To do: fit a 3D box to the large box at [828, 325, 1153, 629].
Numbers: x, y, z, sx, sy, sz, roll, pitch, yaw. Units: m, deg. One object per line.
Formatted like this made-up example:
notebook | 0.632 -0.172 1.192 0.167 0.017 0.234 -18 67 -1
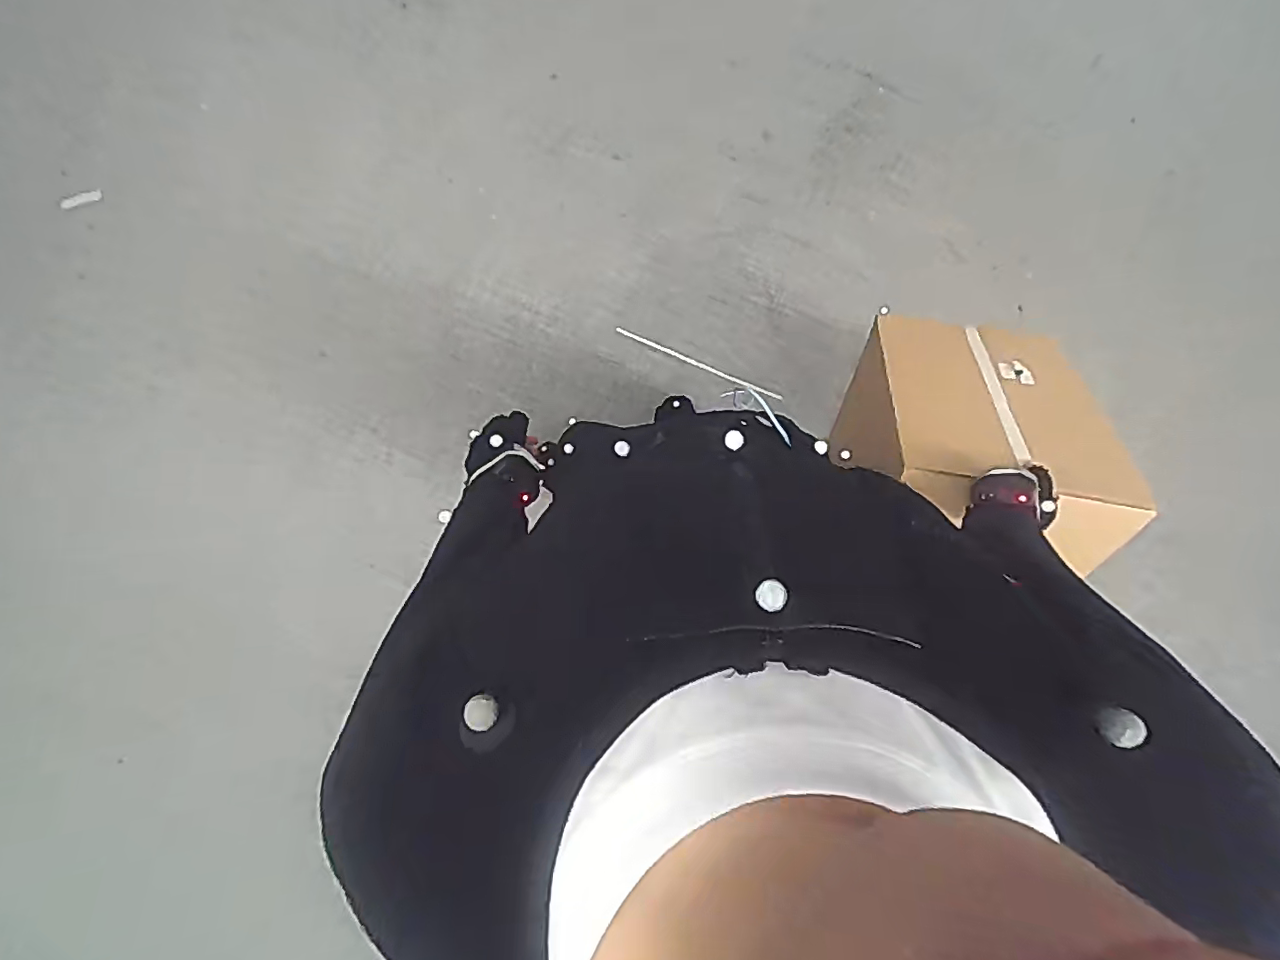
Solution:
large box | 0.528 -0.014 0.933 0.320 0.408 0.320 12 136 6
